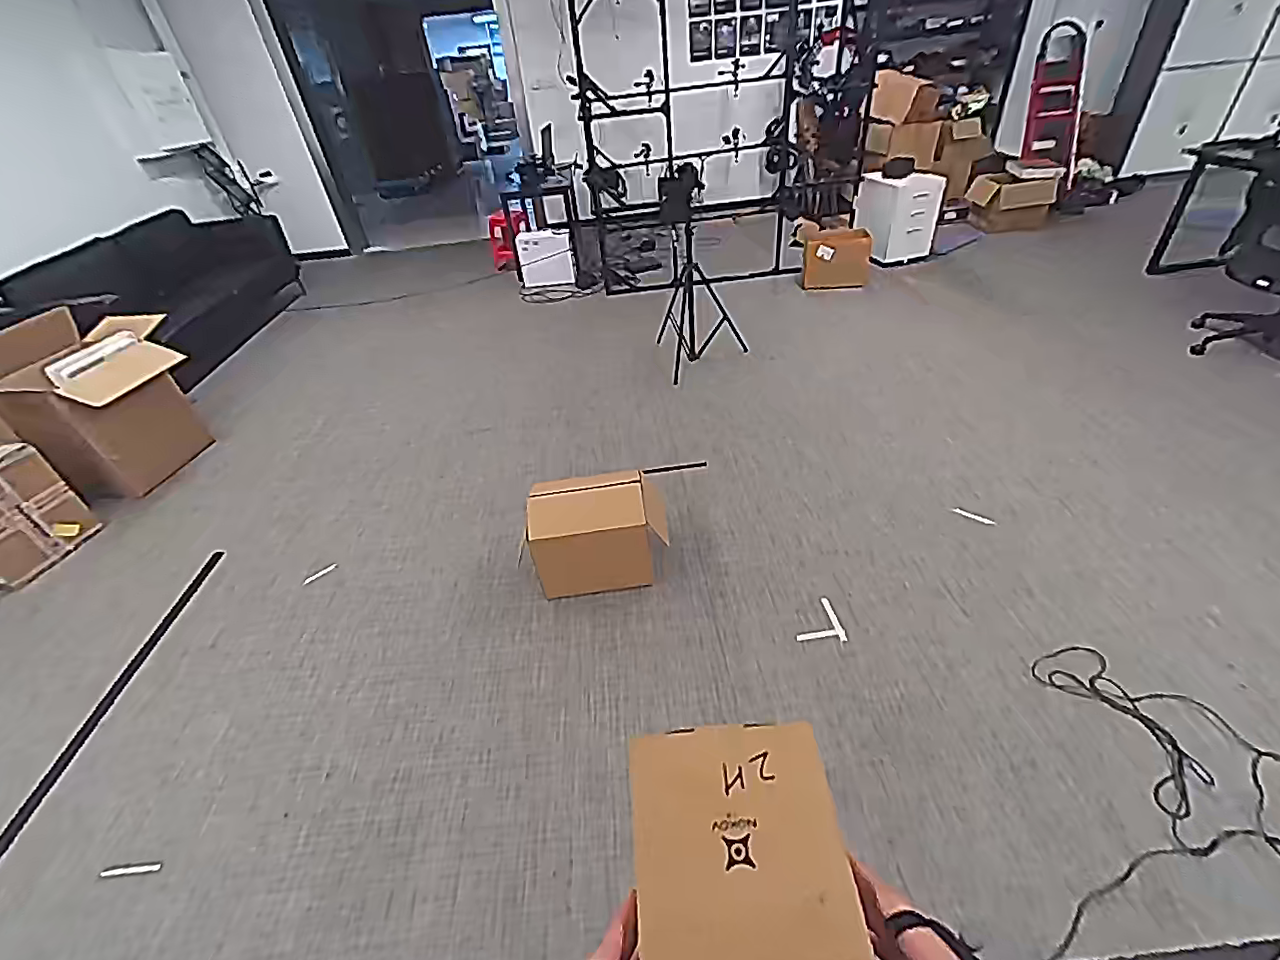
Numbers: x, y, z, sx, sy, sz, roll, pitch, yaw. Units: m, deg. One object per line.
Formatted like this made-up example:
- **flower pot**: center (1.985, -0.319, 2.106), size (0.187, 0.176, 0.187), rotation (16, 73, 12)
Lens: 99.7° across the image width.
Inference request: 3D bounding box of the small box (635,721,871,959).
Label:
- **small box**: center (0.084, 0.344, 0.493), size (0.168, 0.176, 0.179), rotation (-4, 44, 0)
